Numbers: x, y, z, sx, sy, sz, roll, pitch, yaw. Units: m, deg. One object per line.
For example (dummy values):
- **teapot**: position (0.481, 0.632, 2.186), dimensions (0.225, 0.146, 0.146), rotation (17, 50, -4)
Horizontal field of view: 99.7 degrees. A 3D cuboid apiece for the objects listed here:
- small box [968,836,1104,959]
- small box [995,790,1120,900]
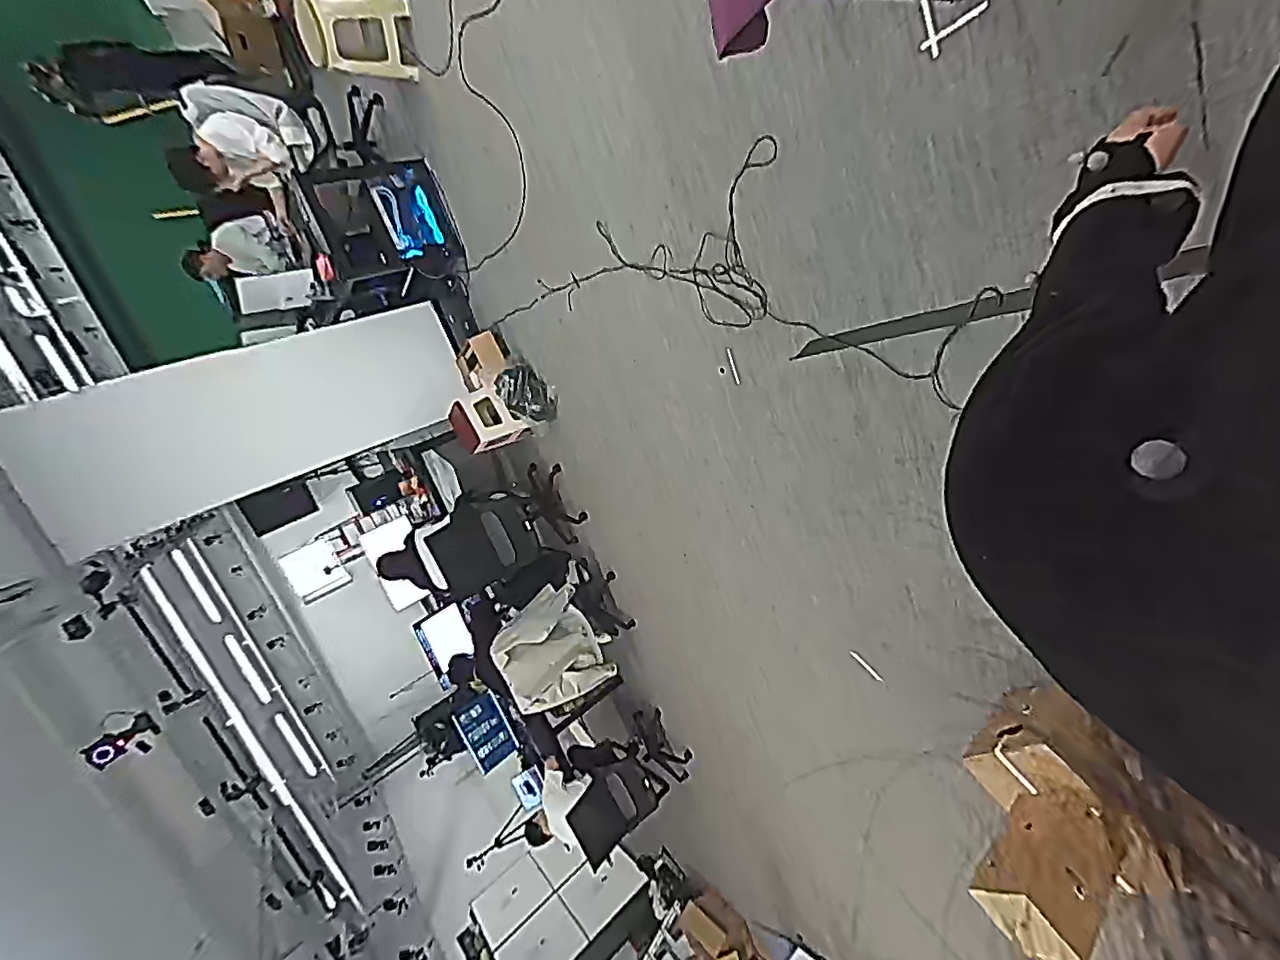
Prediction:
- **small box**: position (0.935, 0.977, 1.278), dimensions (0.168, 0.176, 0.179), rotation (50, 147, 17)
- **small box**: position (1.057, 0.913, 1.365), dimensions (0.168, 0.176, 0.179), rotation (49, 148, 19)
